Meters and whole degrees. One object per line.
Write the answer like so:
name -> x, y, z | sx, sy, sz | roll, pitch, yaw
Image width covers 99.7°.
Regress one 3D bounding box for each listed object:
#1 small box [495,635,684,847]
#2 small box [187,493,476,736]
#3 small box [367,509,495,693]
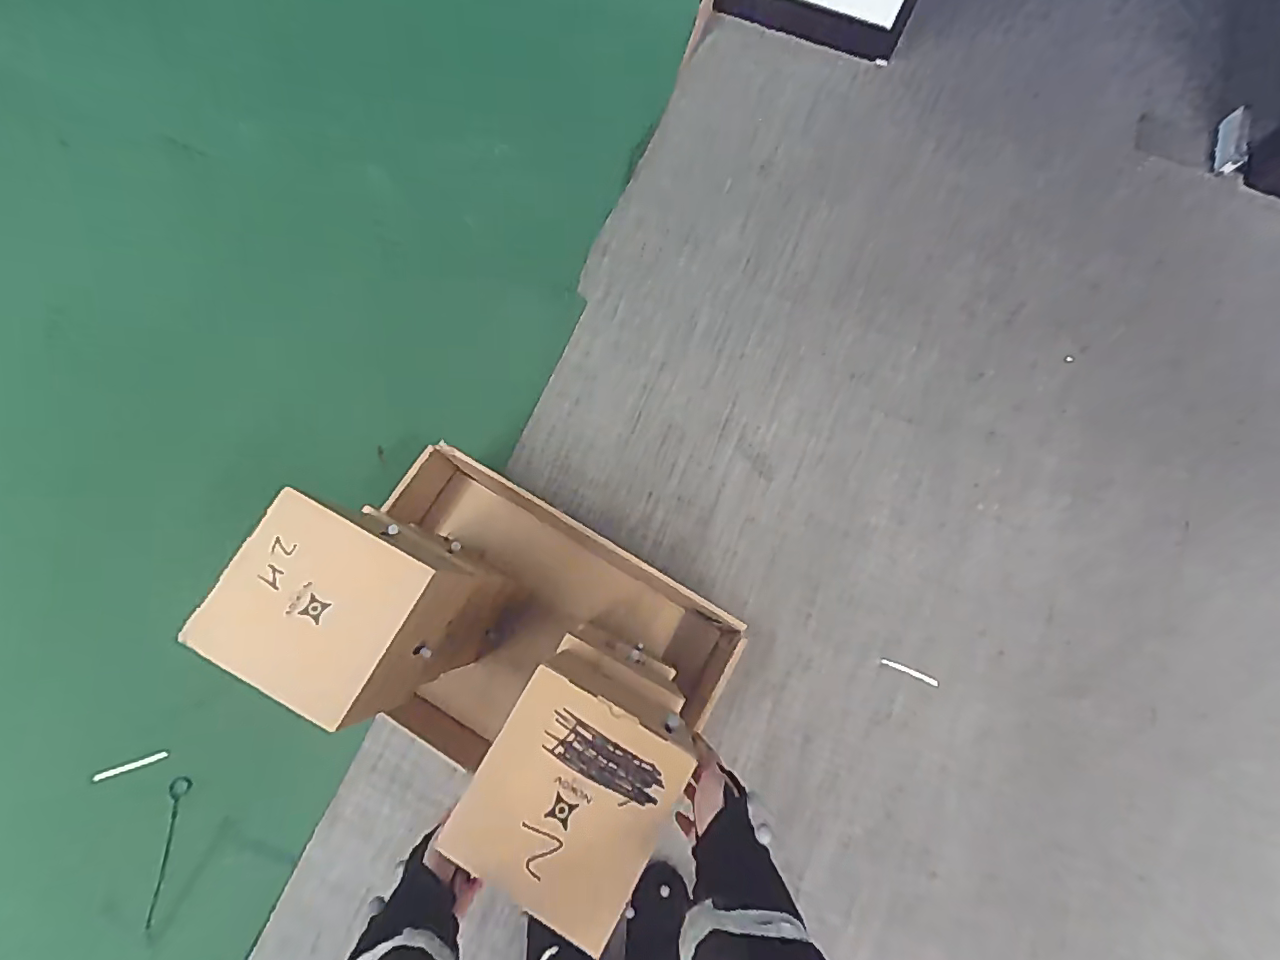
small box -> -0.057, 0.321, 0.707 | 0.168, 0.176, 0.179 | 29, 76, 6
small box -> -0.304, 0.137, 0.581 | 0.179, 0.176, 0.168 | 29, 77, 5
small box -> -0.320, 0.166, 0.743 | 0.168, 0.176, 0.179 | 30, 78, 5
